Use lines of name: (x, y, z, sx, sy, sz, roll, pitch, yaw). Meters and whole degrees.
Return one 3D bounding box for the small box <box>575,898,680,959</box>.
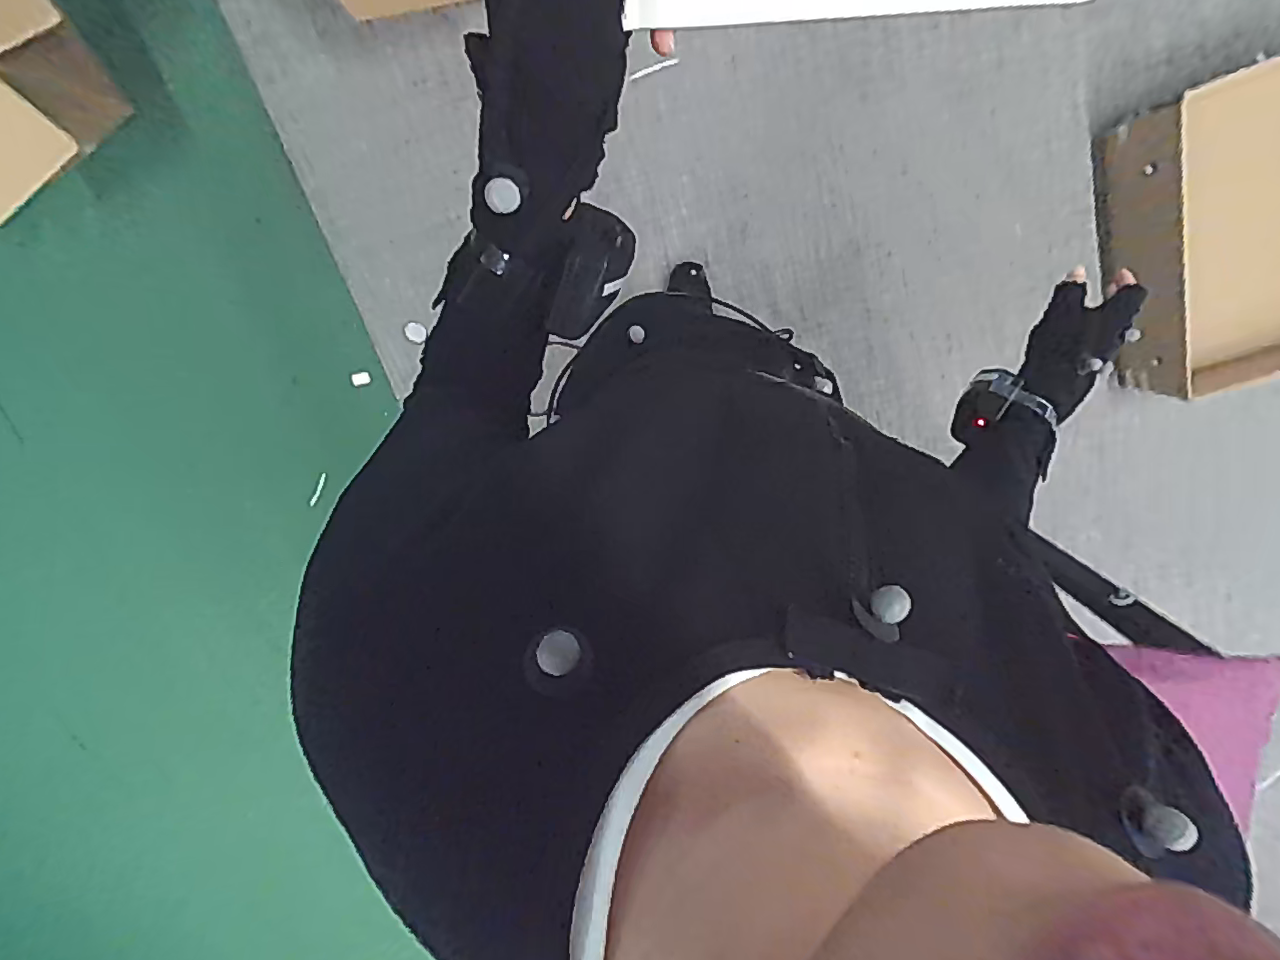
small box: (-0.018, 0.883, 0.952, 0.168, 0.176, 0.179, -9, 109, 5)
